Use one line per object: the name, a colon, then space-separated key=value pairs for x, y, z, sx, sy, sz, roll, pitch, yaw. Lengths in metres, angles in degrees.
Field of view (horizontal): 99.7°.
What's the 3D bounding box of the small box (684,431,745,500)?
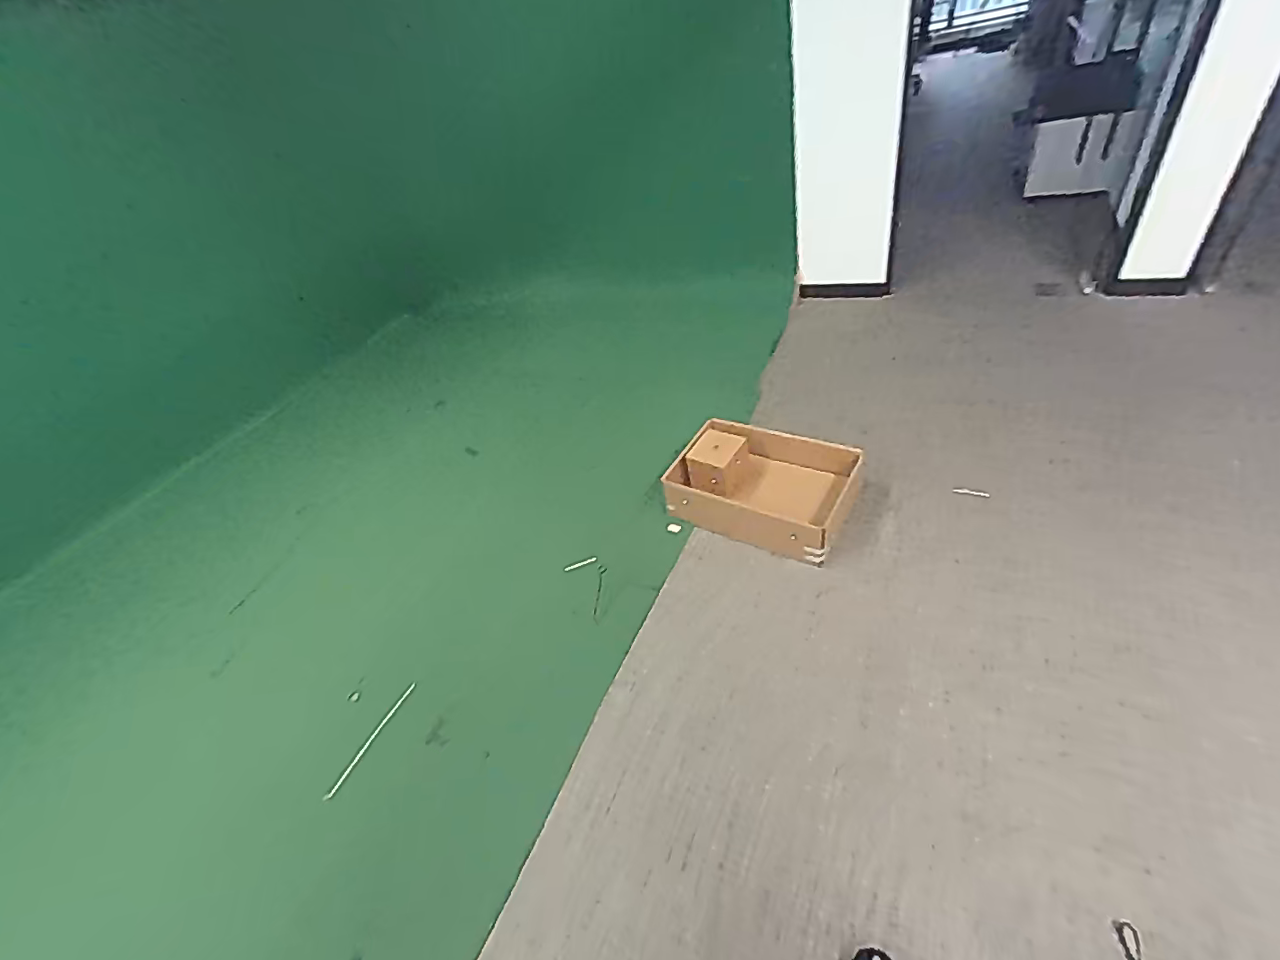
small box: x=0.290 y=-0.053 z=2.057 sx=0.168 sy=0.176 sz=0.179 roll=19 pitch=53 yaw=32
